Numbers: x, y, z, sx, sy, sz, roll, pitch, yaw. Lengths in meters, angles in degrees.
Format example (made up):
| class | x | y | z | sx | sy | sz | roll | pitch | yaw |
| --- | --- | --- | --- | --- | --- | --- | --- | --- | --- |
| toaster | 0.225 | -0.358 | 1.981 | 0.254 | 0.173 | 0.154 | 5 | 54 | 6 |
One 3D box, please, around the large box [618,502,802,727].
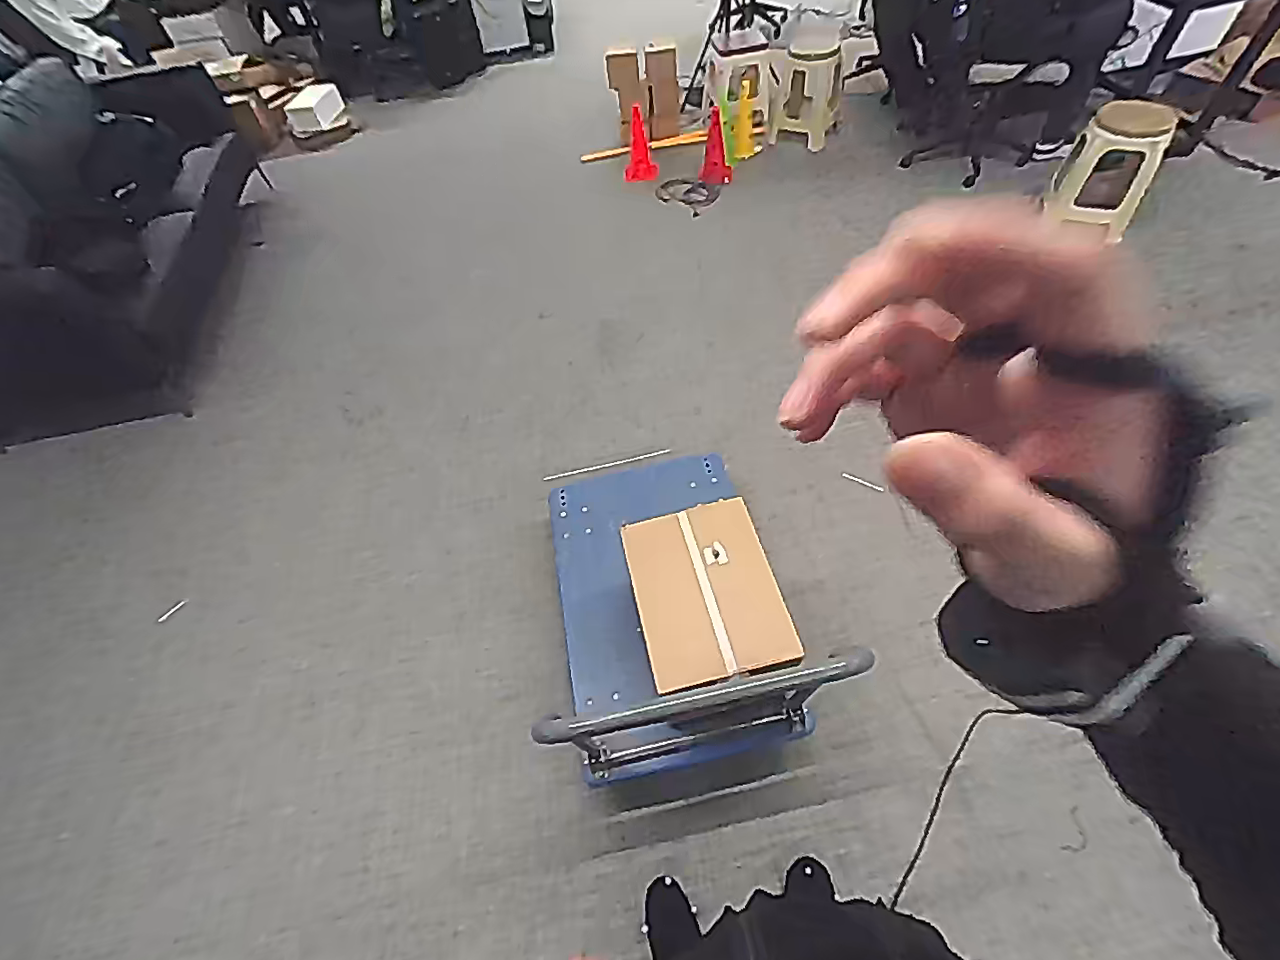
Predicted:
| class | x | y | z | sx | sy | sz | roll | pitch | yaw |
| --- | --- | --- | --- | --- | --- | --- | --- | --- | --- |
| large box | 0.155 | 0.330 | 1.321 | 0.320 | 0.320 | 0.408 | -13 | 54 | -3 |
